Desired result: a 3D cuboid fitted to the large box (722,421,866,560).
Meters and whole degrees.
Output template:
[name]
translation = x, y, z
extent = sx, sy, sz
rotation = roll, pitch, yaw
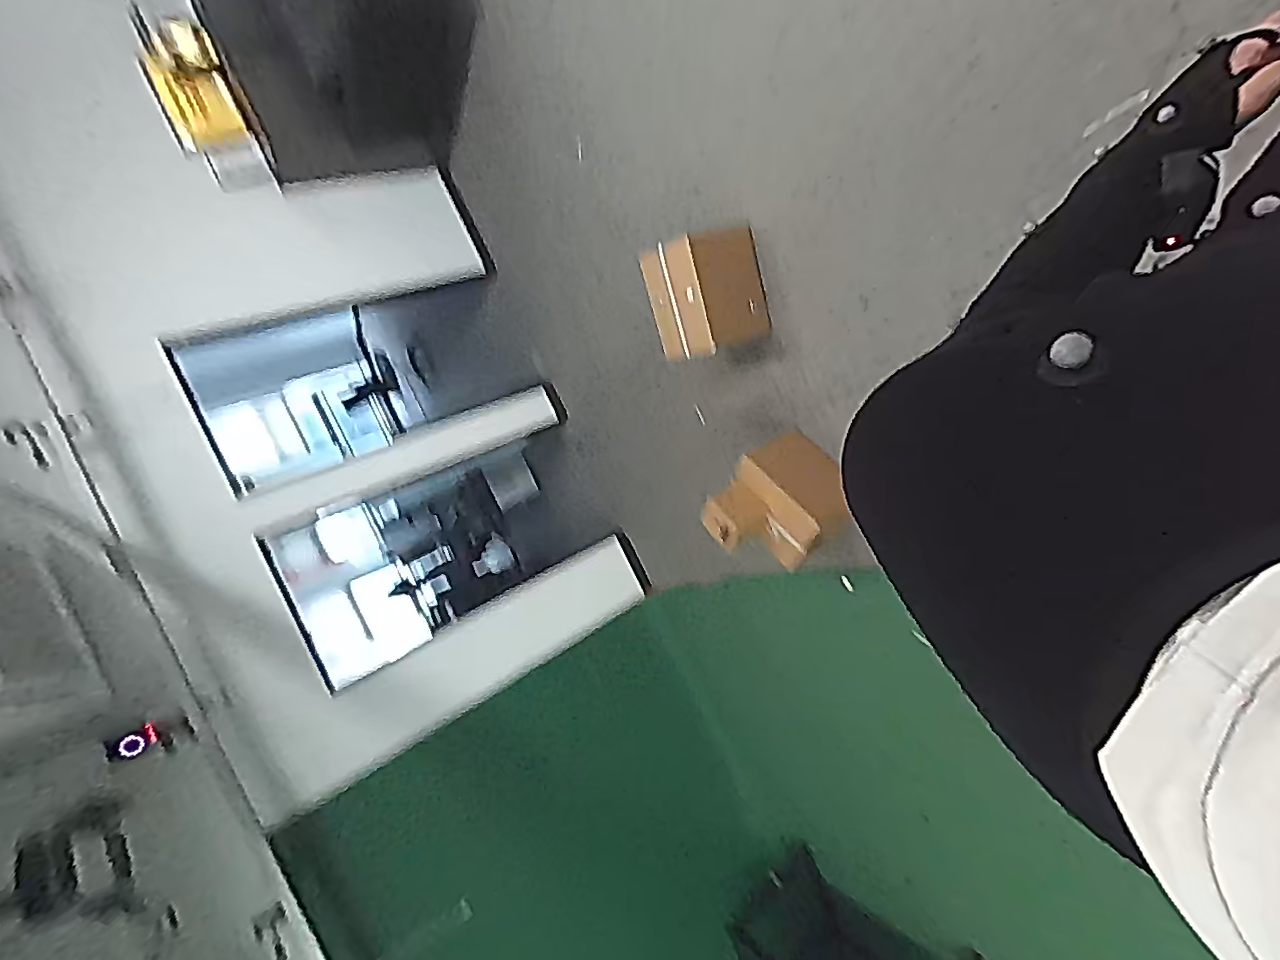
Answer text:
[large box]
translation = 0.604, 0.032, 2.170
extent = 0.408, 0.320, 0.320
rotation = 47, 148, 26
